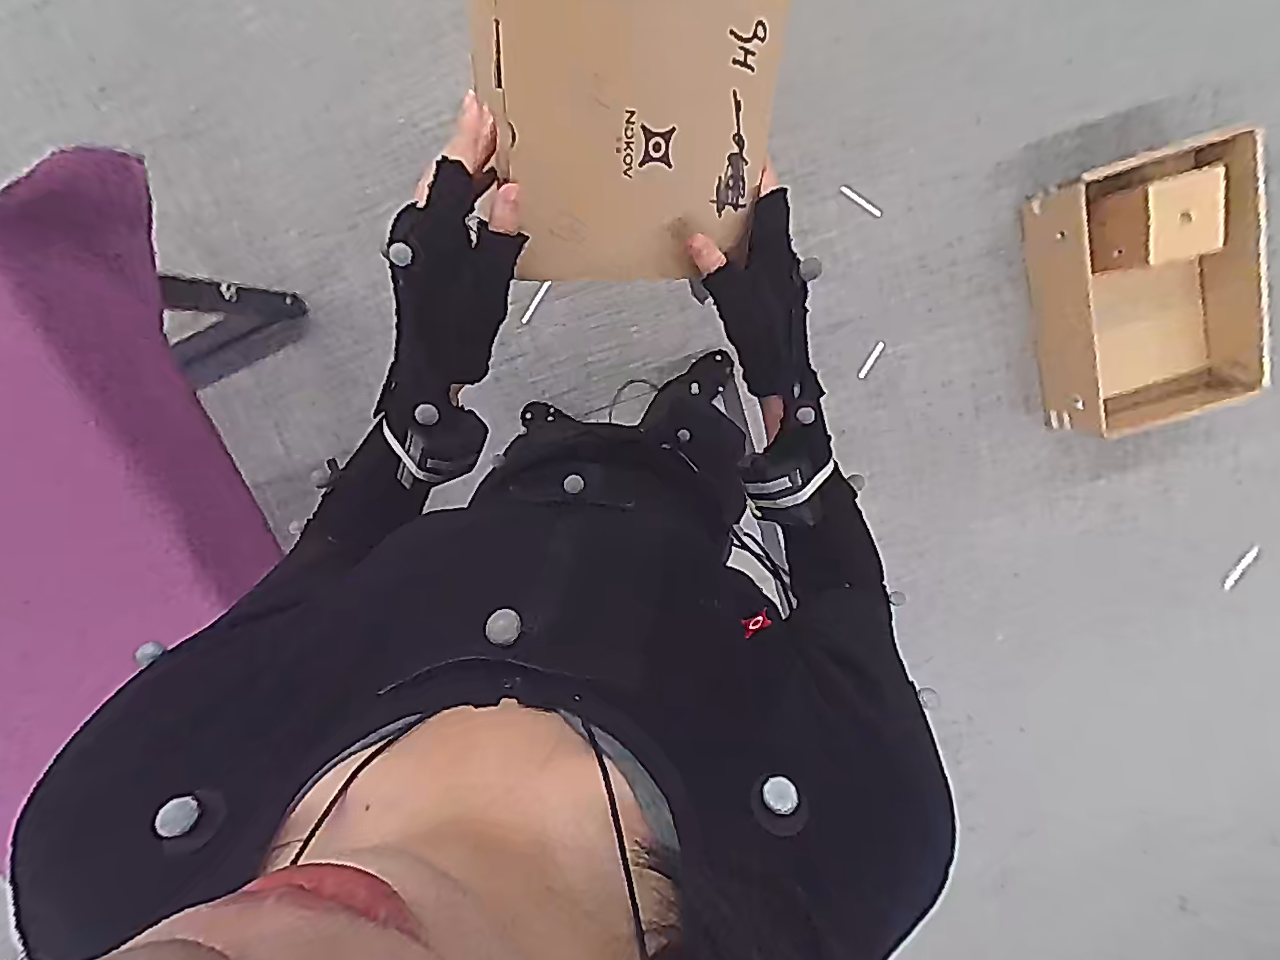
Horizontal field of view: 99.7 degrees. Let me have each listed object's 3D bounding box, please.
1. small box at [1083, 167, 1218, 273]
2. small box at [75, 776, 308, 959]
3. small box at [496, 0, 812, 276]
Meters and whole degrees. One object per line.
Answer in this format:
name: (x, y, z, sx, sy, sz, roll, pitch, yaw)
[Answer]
small box: (1.191, -0.599, 1.273, 0.168, 0.176, 0.179, -14, 103, 2)
small box: (-0.661, 0.596, 0.822, 0.179, 0.176, 0.168, -23, 102, 4)
small box: (-0.011, -0.257, 0.398, 0.179, 0.176, 0.168, -6, 126, -17)
